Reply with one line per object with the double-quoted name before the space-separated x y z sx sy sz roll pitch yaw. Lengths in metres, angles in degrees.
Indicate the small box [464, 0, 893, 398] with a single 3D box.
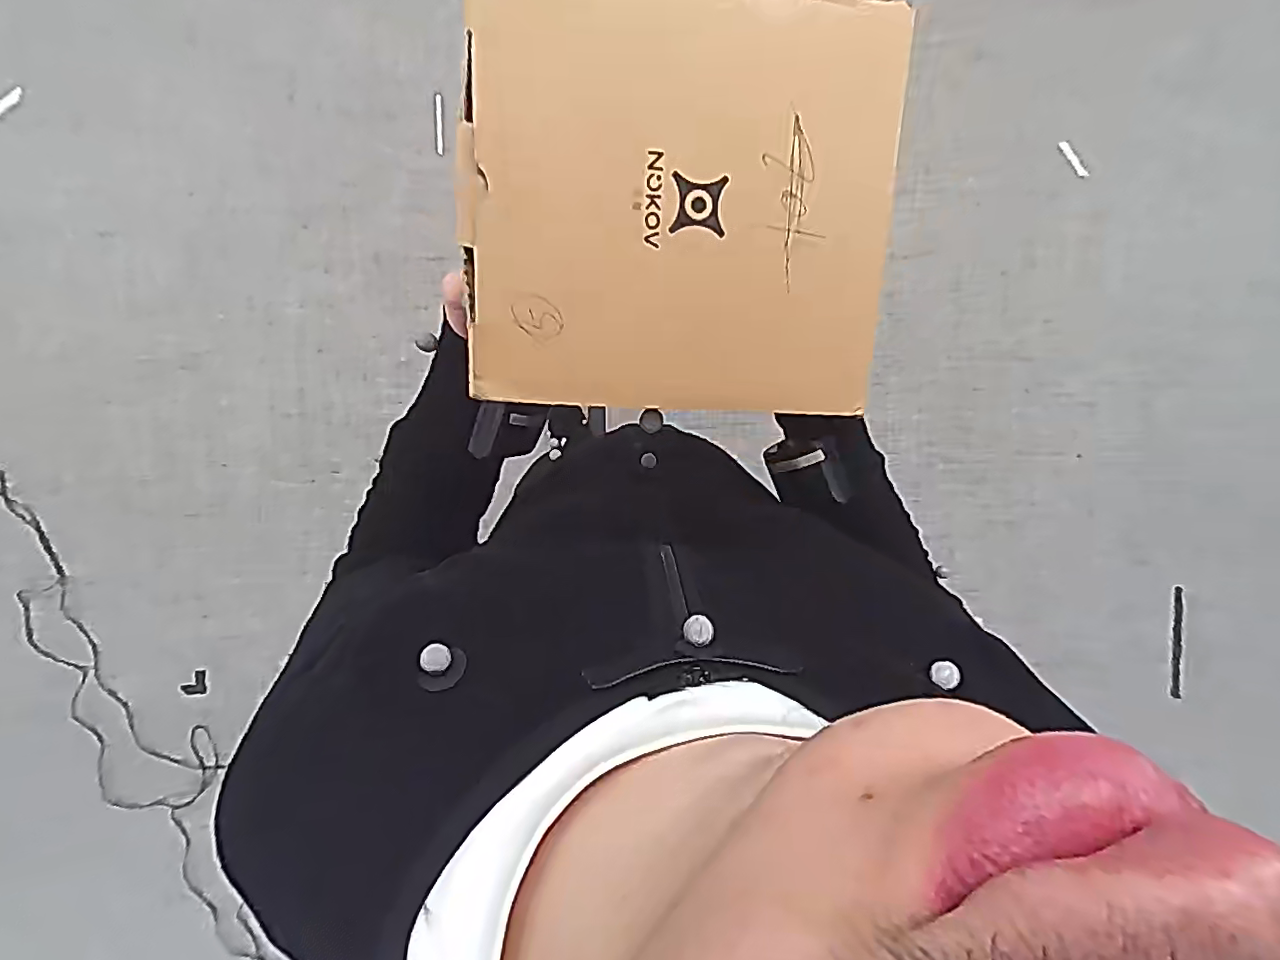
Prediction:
"small box" 0.005 -0.137 0.307 0.179 0.176 0.168 1 102 -9
